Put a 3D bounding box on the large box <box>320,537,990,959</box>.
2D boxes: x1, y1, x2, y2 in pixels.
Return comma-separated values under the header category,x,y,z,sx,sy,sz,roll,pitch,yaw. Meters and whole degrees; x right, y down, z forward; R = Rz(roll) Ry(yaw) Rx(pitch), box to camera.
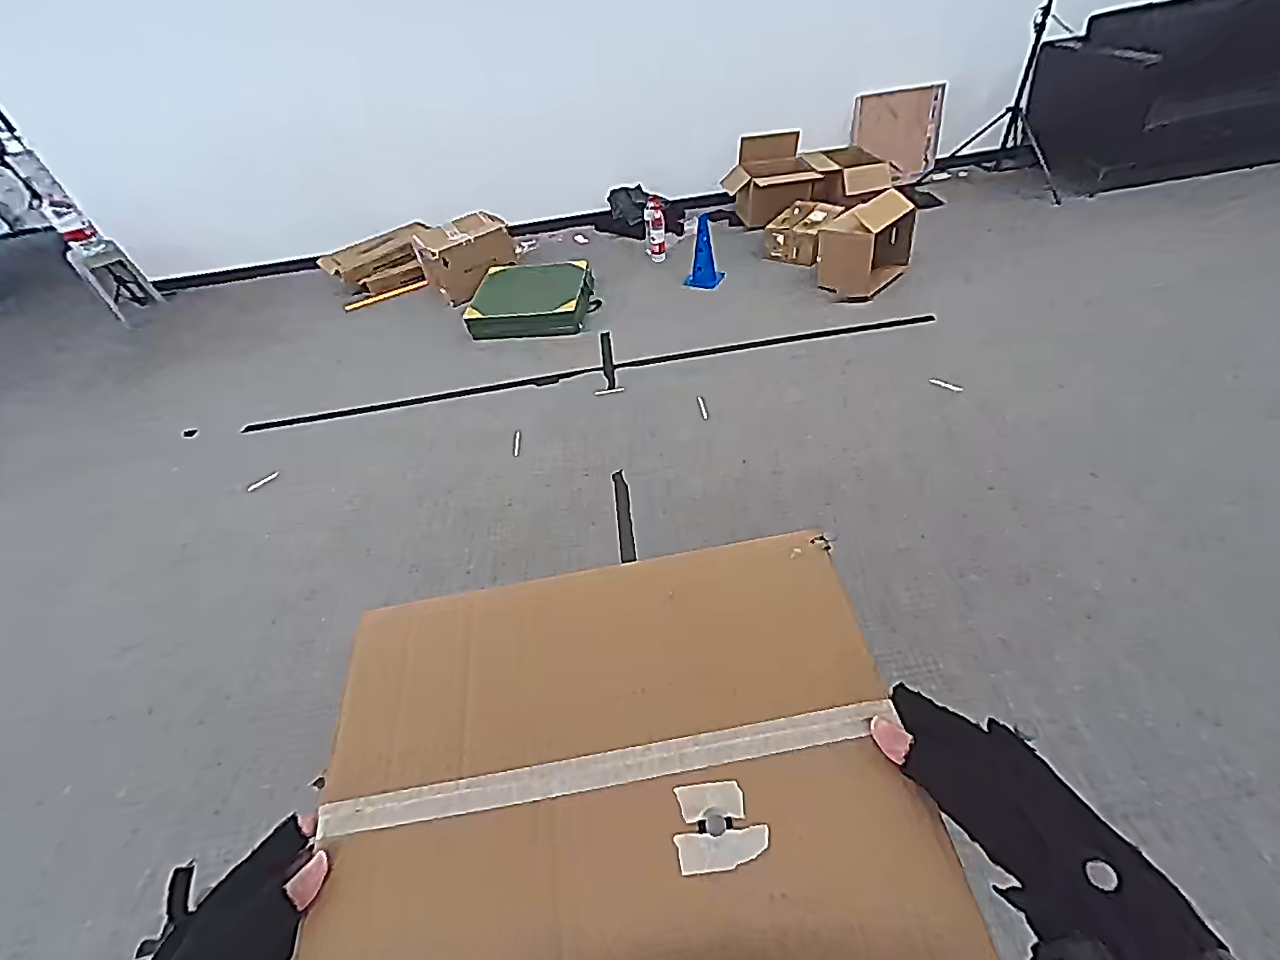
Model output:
category,x,y,z,sx,sy,sz,roll,pitch,yaw
large box,-0.003,0.297,0.505,0.408,0.320,0.320,-11,52,-1
